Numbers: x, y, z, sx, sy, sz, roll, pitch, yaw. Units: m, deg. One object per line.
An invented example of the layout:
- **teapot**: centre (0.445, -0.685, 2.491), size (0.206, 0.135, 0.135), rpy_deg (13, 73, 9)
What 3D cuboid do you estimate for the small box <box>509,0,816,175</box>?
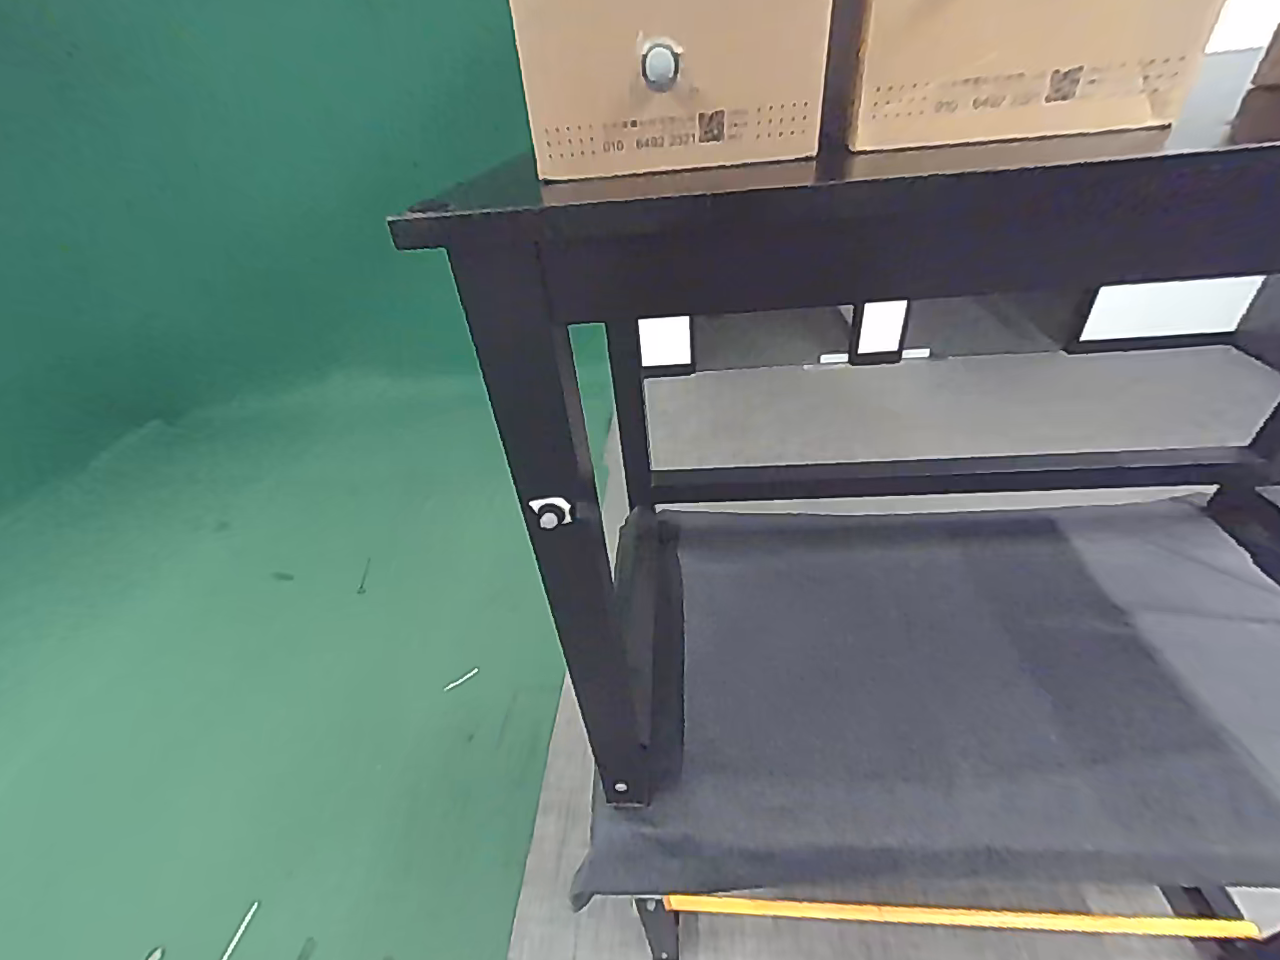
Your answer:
- **small box**: centre (0.012, -0.301, 0.342), size (0.168, 0.176, 0.179), rpy_deg (-3, 37, 5)
